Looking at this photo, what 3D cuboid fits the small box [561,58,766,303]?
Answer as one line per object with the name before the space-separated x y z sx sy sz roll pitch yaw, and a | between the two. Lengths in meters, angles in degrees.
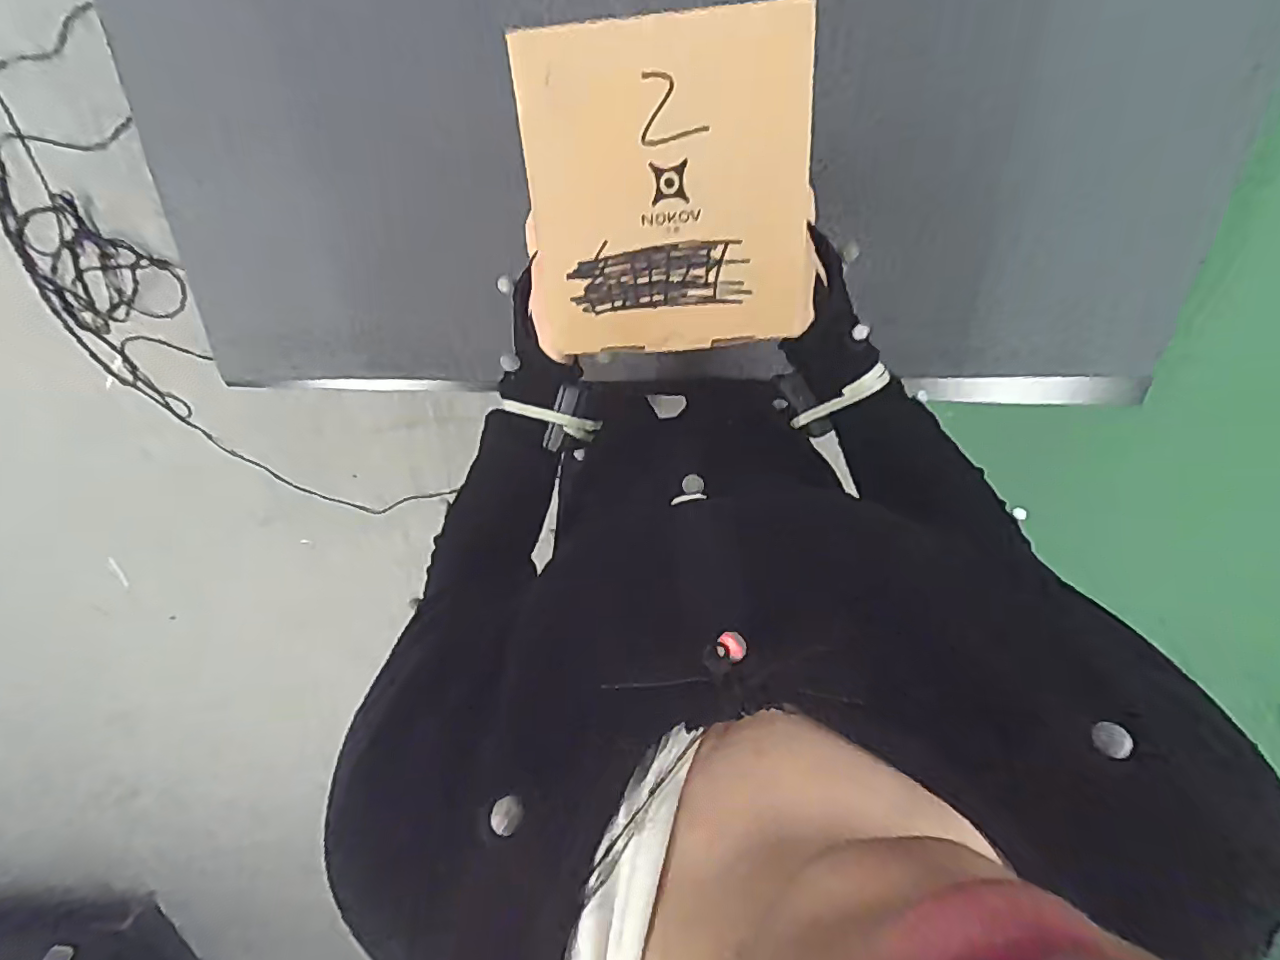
small box | 0.023 -0.275 0.527 0.168 0.176 0.179 -3 114 3
